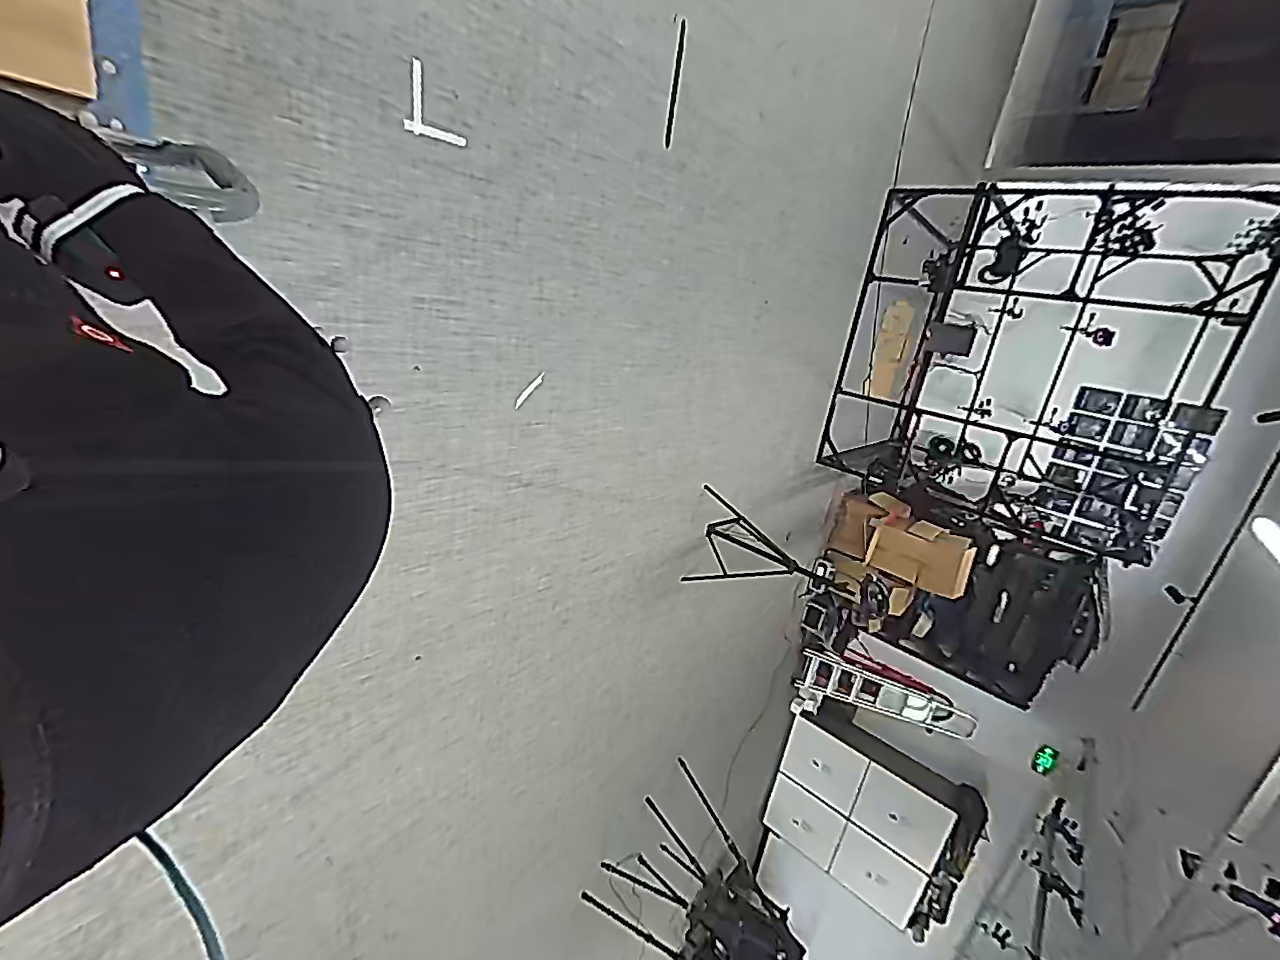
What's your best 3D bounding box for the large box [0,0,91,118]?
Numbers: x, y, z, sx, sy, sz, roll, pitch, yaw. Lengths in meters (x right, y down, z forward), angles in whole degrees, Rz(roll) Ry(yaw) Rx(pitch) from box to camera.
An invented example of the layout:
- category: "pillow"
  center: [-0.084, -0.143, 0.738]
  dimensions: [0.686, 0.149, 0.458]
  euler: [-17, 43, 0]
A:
- category: "large box"
  center: [-0.885, -0.614, 0.543]
  dimensions: [0.408, 0.320, 0.320]
  euler: [-14, 119, -50]
